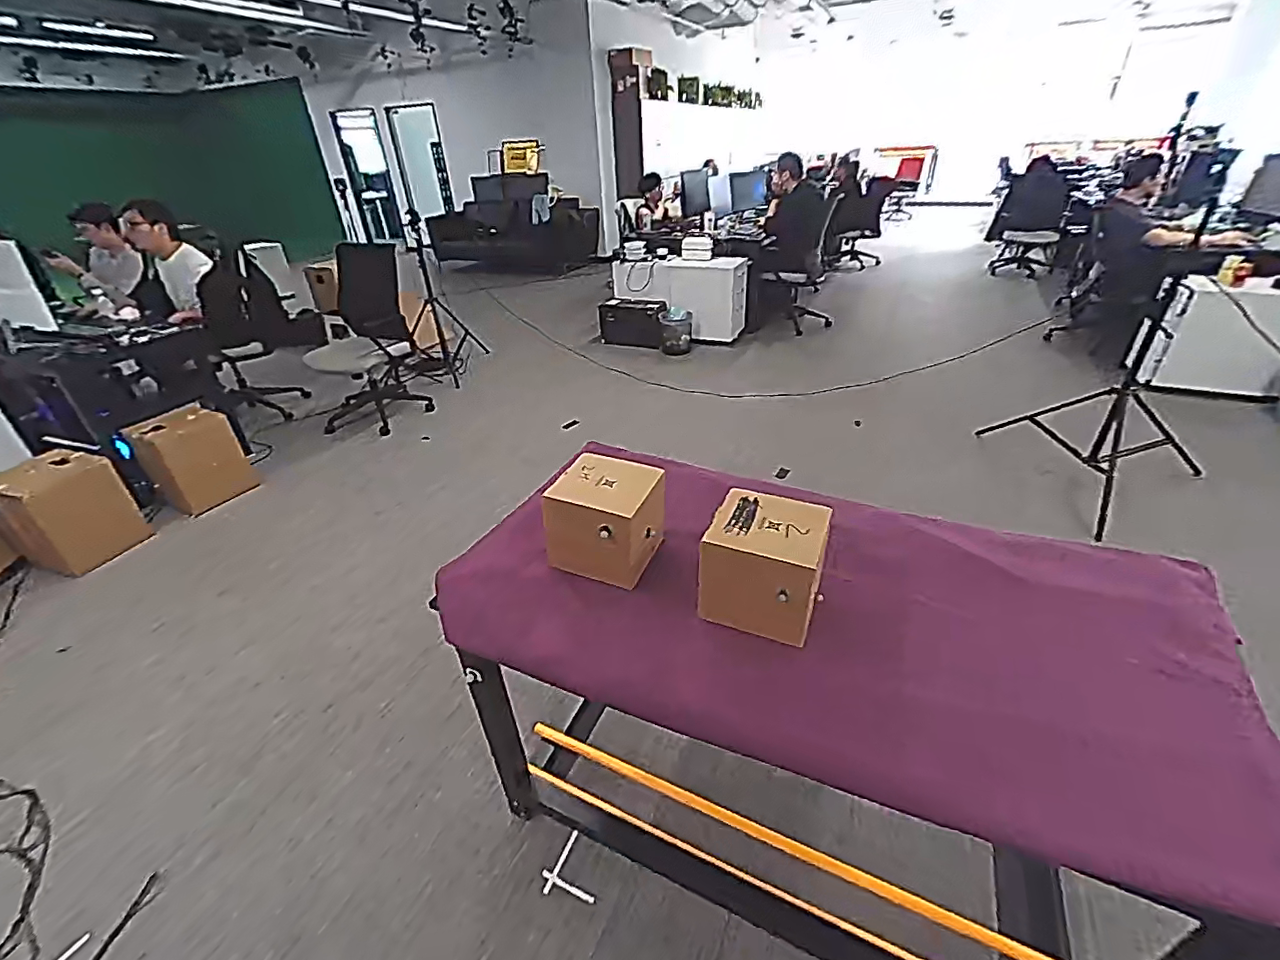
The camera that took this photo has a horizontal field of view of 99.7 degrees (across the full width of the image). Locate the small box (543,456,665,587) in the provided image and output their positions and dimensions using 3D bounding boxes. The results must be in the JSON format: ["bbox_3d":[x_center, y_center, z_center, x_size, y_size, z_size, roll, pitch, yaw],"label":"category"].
[{"bbox_3d":[-0.063,0.079,1.032,0.179,0.176,0.168,13,34,19],"label":"small box"}]
